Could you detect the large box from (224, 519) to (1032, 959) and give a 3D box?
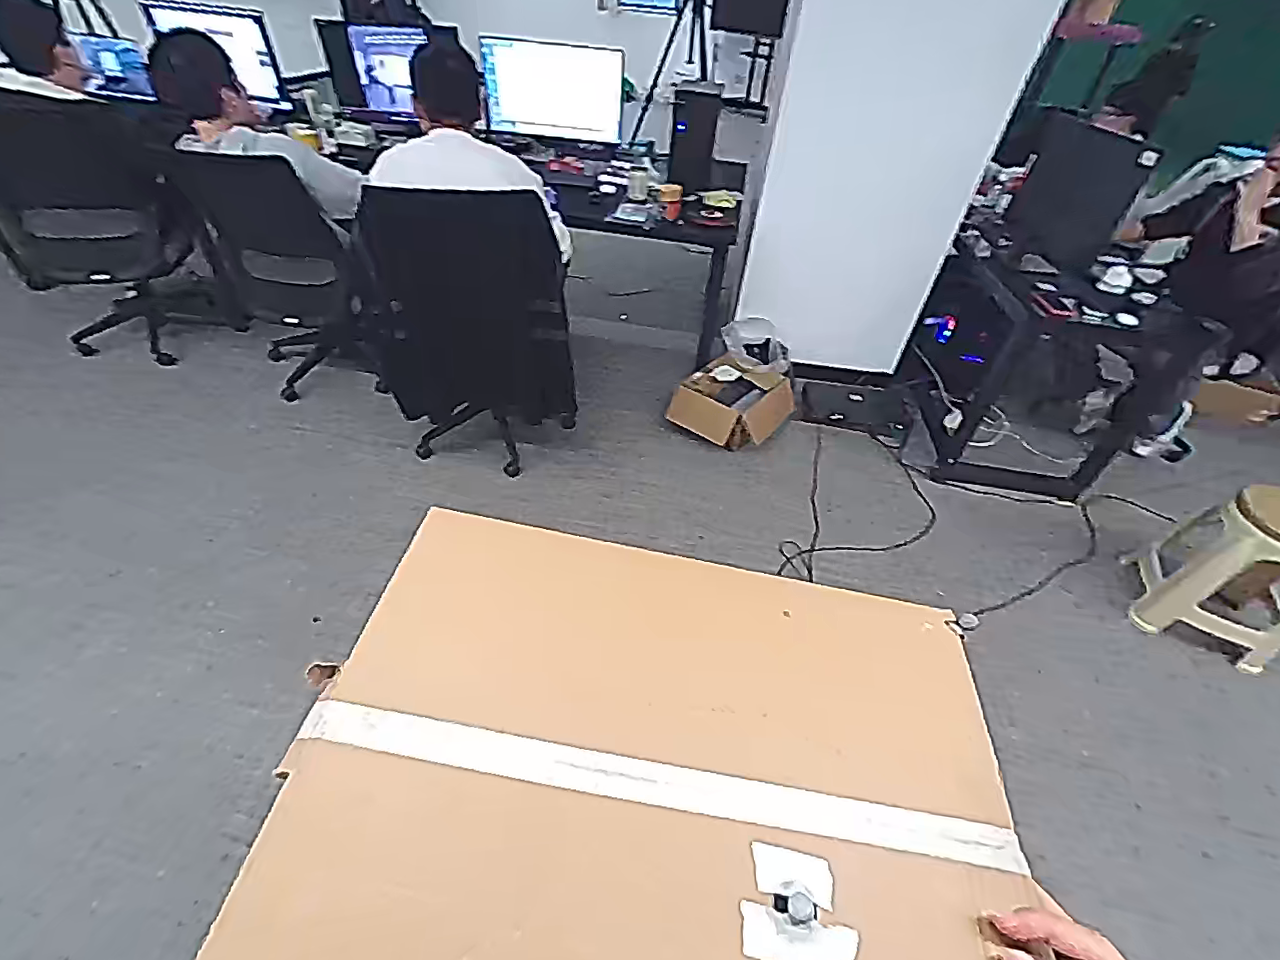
[{"bbox_3d":[-0.004,0.275,0.427,0.408,0.320,0.320,12,48,-2],"label":"large box"}]
